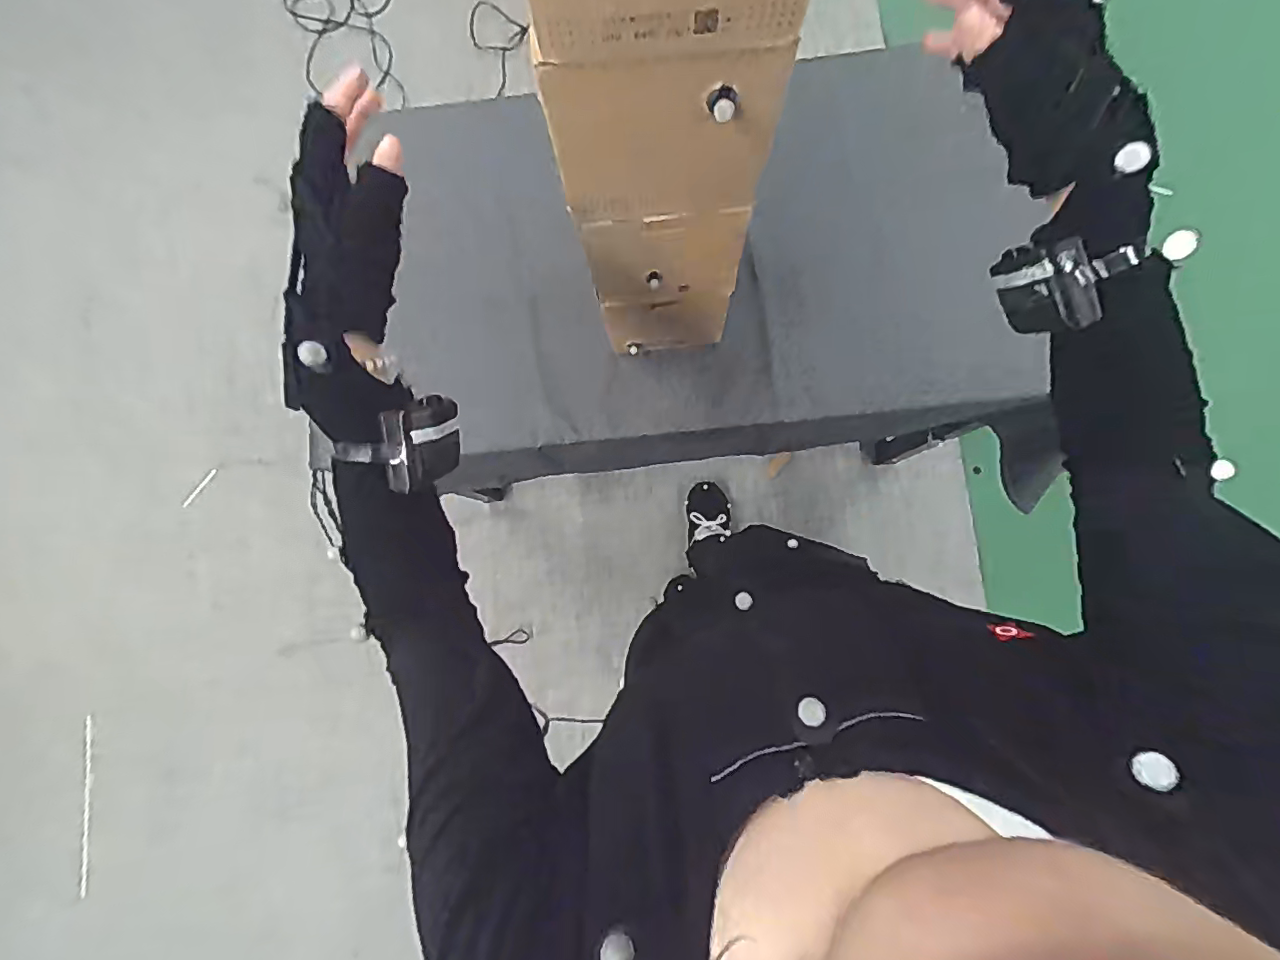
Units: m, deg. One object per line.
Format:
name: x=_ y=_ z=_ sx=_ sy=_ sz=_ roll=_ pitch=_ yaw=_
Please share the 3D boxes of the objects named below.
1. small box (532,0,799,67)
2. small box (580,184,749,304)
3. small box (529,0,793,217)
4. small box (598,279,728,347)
small box: x=0.009 y=-0.368 z=0.283 sx=0.168 sy=0.176 sz=0.179 roll=-3 pitch=81 yaw=3
small box: x=0.021 y=-0.323 z=0.608 sx=0.168 sy=0.176 sz=0.179 roll=-6 pitch=82 yaw=3
small box: x=0.013 y=-0.344 z=0.445 sx=0.179 sy=0.176 sz=0.168 roll=-4 pitch=82 yaw=3
small box: x=0.030 y=-0.301 z=0.768 sx=0.168 sy=0.176 sz=0.179 roll=-6 pitch=81 yaw=3
